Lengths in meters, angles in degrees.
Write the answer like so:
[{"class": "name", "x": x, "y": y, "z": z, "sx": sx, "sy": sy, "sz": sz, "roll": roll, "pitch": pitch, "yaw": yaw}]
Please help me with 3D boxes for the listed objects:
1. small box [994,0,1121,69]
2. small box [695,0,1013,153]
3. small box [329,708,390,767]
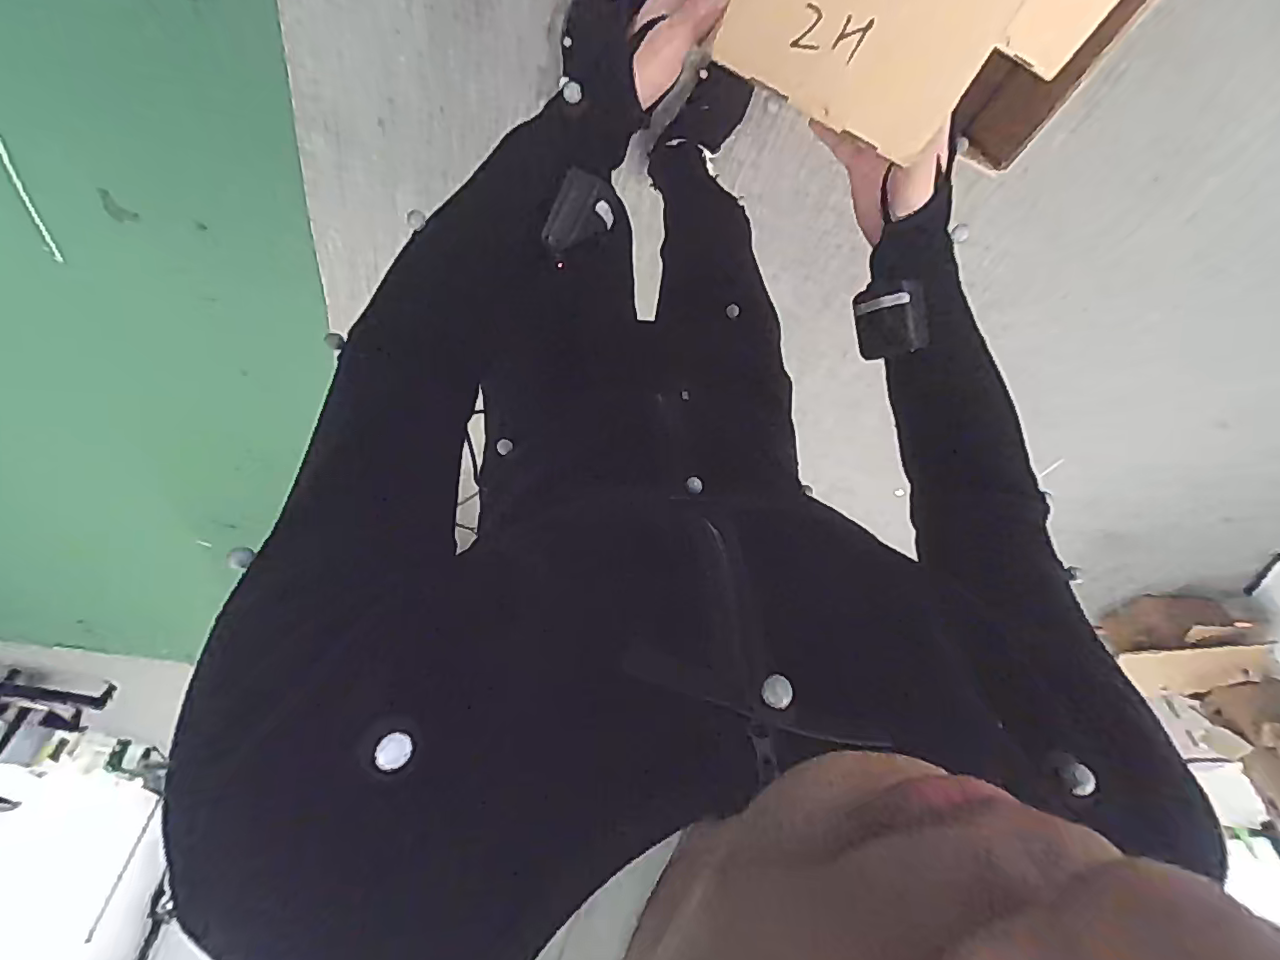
[{"class": "small box", "x": 0.438, "y": -0.599, "z": 0.580, "sx": 0.168, "sy": 0.176, "sz": 0.179, "roll": 15, "pitch": 140, "yaw": -16}, {"class": "small box", "x": 0.146, "y": -0.363, "z": 0.361, "sx": 0.168, "sy": 0.176, "sz": 0.179, "roll": 17, "pitch": 130, "yaw": -16}, {"class": "small box", "x": -1.084, "y": 1.004, "z": 2.103, "sx": 0.168, "sy": 0.176, "sz": 0.179, "roll": 11, "pitch": 140, "yaw": -13}]
